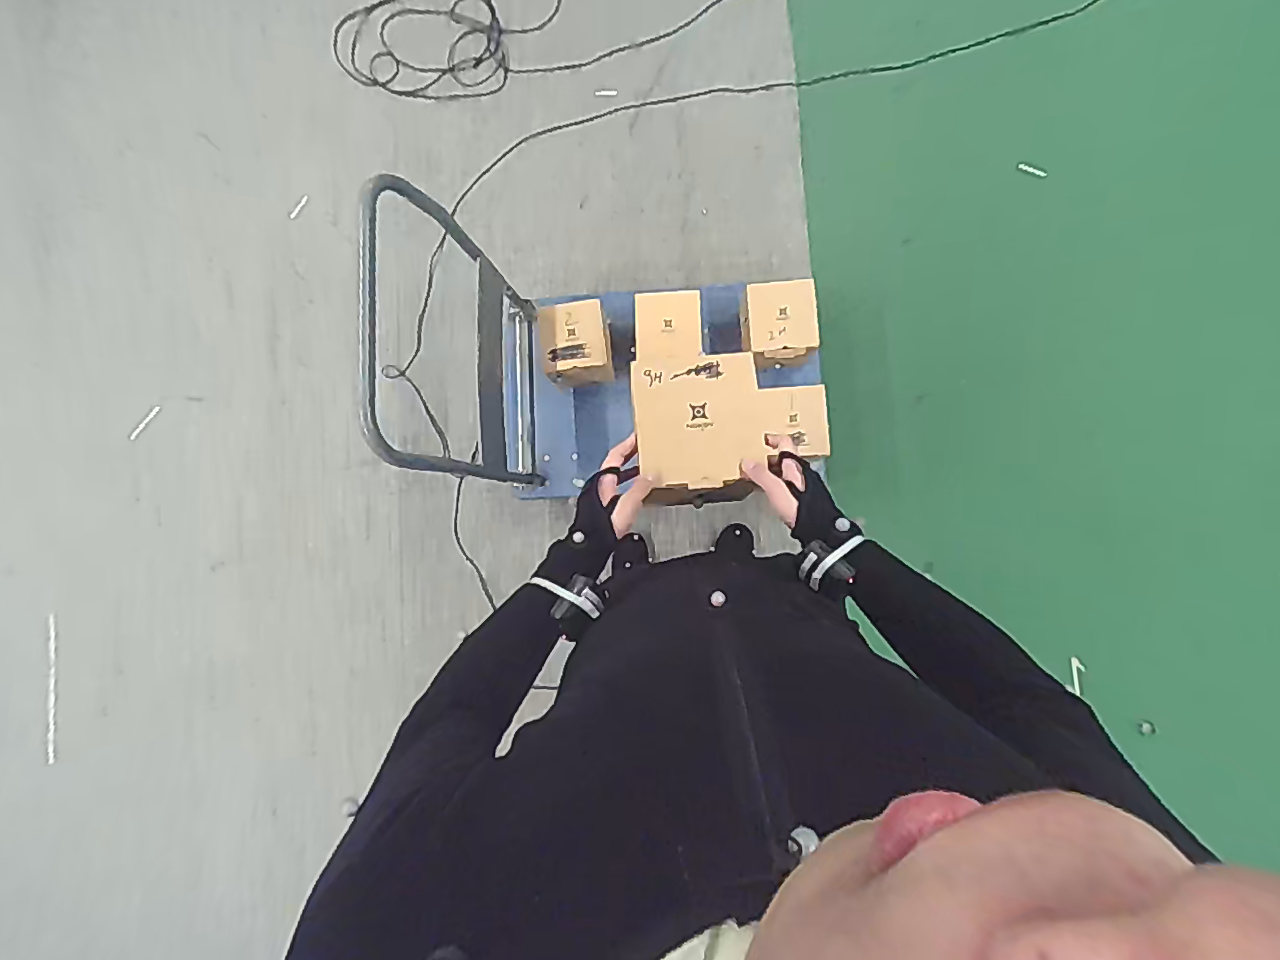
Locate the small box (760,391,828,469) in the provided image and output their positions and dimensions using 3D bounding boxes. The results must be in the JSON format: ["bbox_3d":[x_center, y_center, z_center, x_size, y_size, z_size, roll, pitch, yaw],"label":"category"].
[{"bbox_3d":[0.379,-0.122,1.400,0.168,0.176,0.179,-4,84,4],"label":"small box"}]

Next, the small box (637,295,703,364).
[{"bbox_3d":[0.078,-0.369,1.430,0.168,0.176,0.179,-2,86,4],"label":"small box"}]

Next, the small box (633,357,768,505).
[{"bbox_3d":[0.078,-0.060,0.779,0.168,0.176,0.179,-4,79,-1],"label":"small box"}]

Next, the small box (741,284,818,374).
[{"bbox_3d":[0.357,-0.387,1.407,0.168,0.176,0.179,-3,85,5],"label":"small box"}]
